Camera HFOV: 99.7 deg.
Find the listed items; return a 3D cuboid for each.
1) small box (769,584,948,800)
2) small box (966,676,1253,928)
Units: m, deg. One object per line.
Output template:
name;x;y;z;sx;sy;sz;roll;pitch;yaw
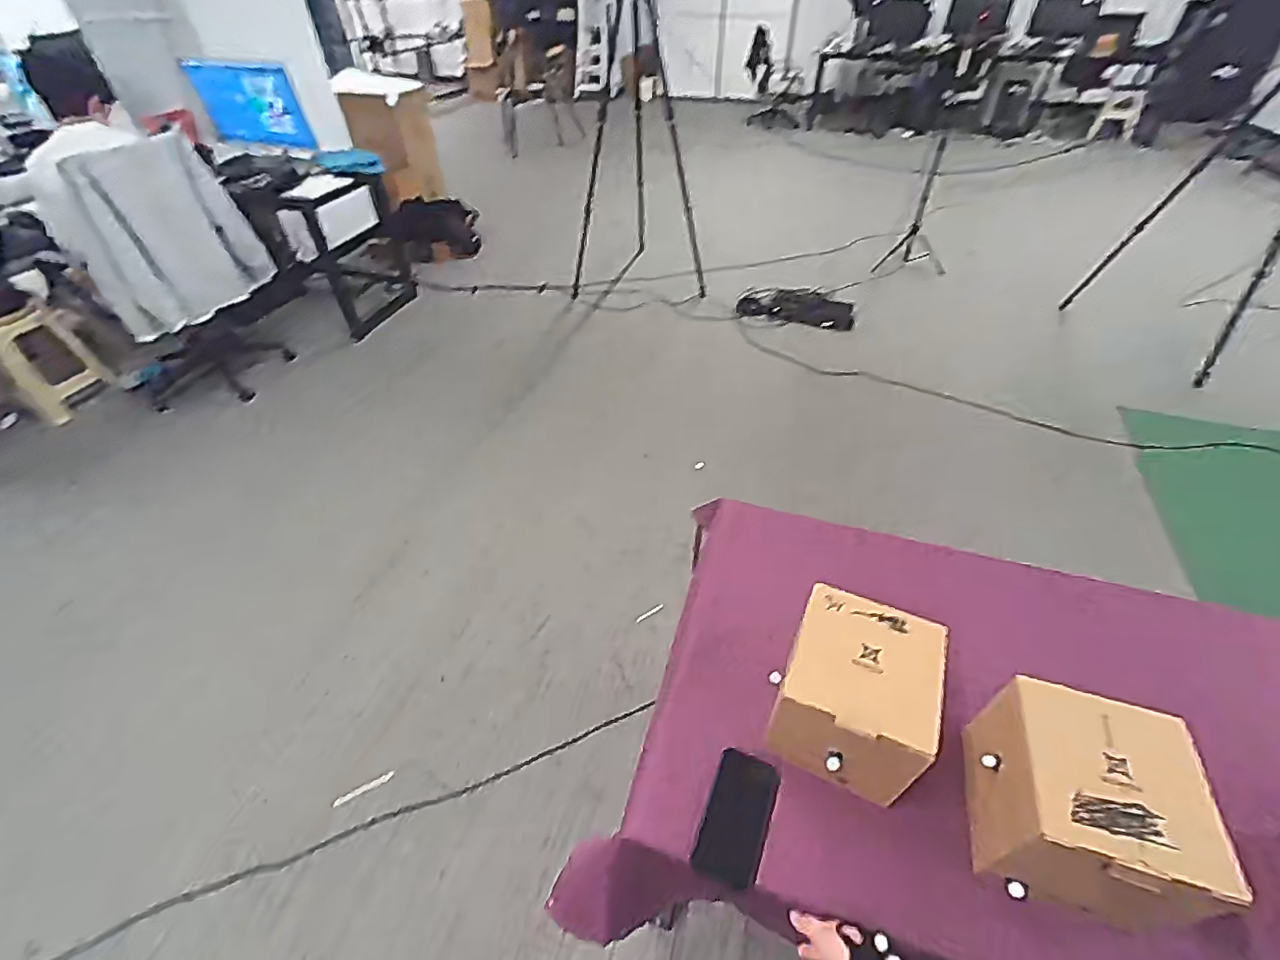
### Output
small box;0.274;0.274;0.699;0.168;0.176;0.179;18;47;19
small box;0.489;0.358;0.603;0.168;0.176;0.179;12;45;14
